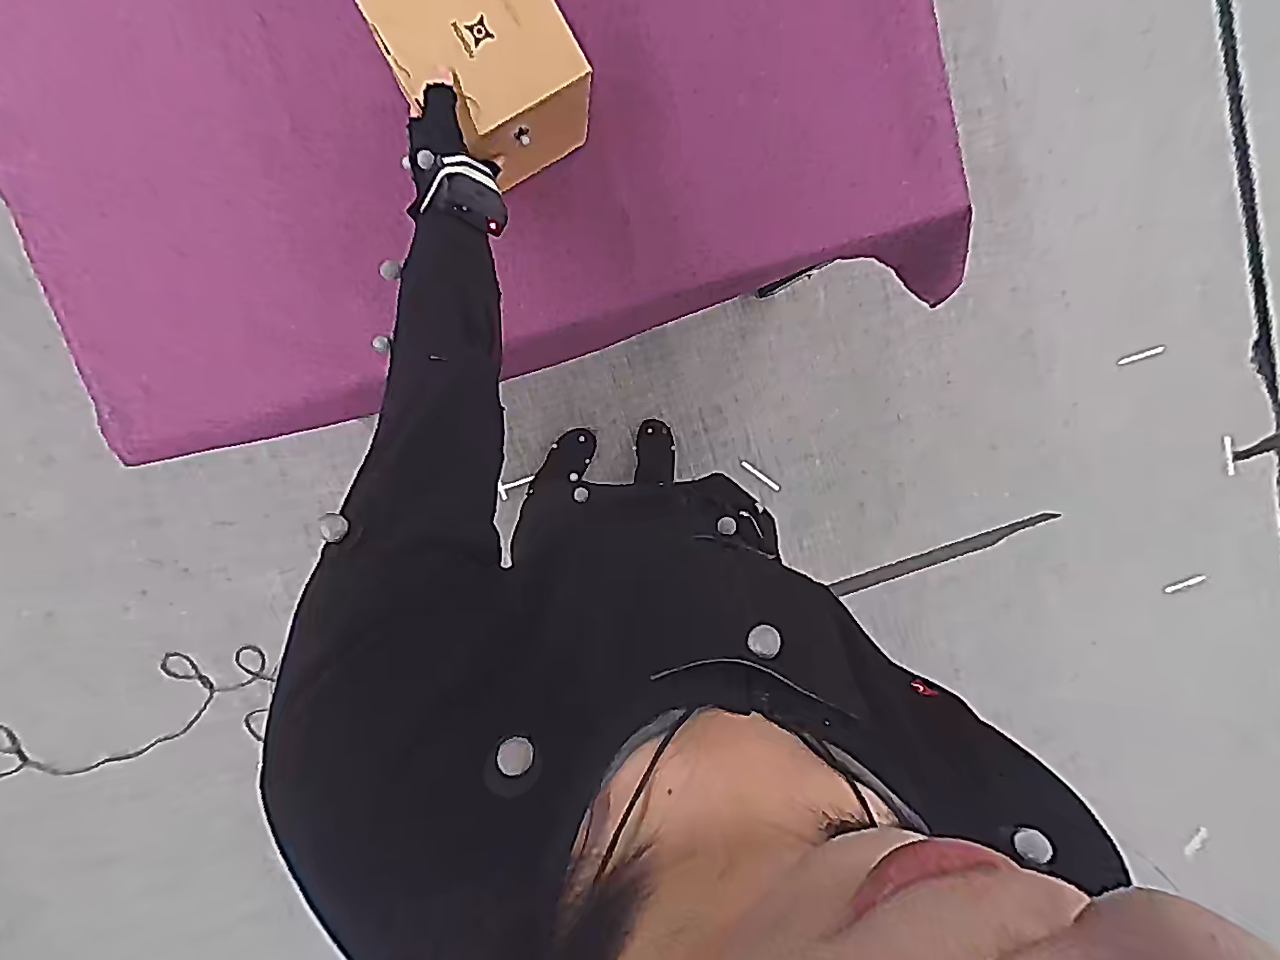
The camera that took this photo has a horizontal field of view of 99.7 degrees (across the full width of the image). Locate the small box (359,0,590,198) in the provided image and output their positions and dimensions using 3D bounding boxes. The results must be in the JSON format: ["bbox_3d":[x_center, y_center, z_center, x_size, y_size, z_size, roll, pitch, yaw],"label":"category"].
[{"bbox_3d":[-0.172,-0.464,0.623,0.179,0.176,0.168,-32,101,-2],"label":"small box"}]
